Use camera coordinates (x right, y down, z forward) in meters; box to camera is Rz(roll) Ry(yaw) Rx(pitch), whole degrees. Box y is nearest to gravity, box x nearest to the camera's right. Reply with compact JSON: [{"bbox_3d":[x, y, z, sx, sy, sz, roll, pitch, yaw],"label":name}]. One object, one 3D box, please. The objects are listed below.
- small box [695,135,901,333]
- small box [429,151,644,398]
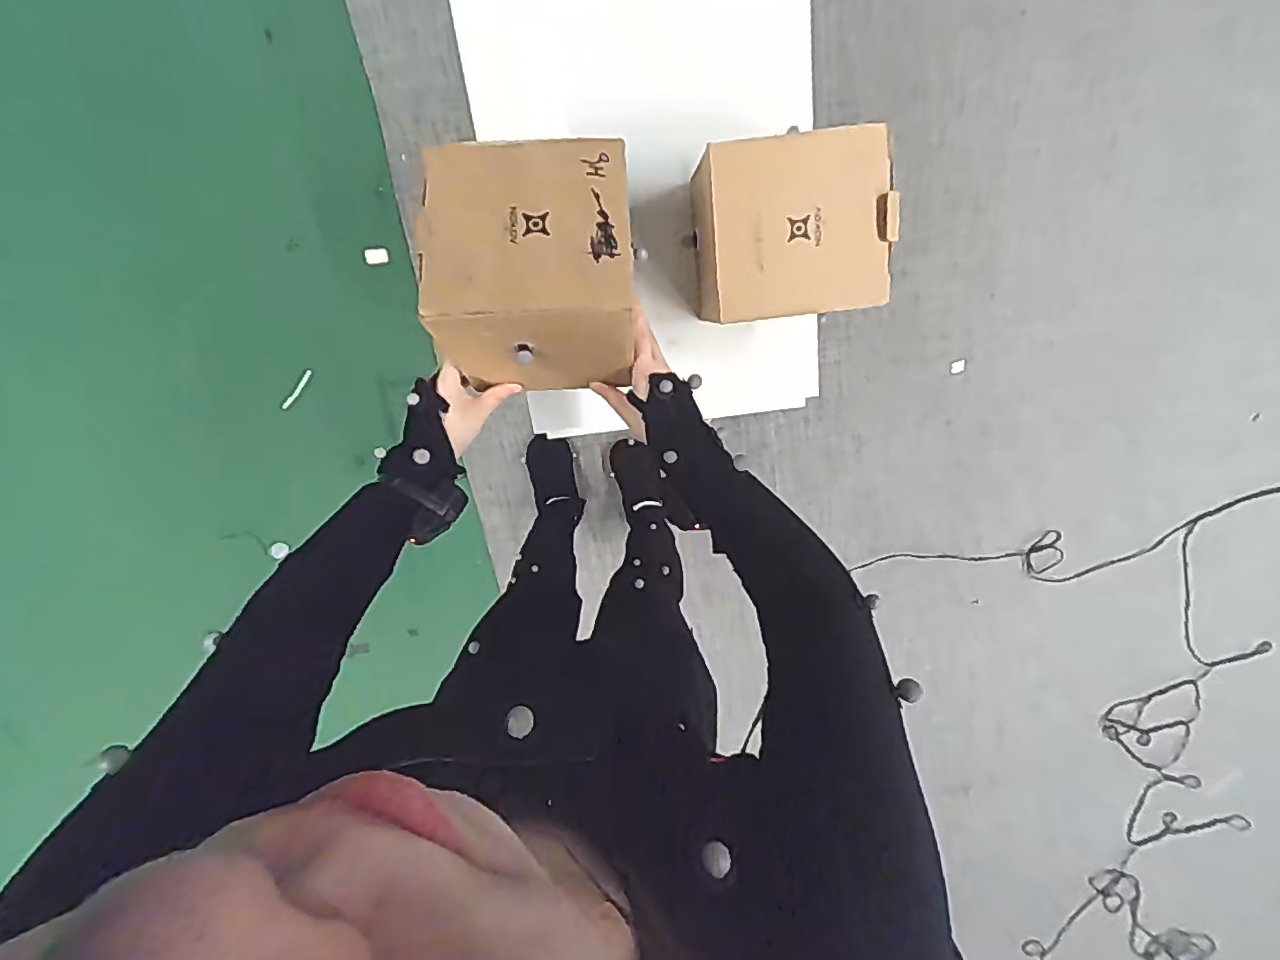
[{"bbox_3d":[0.162,-0.260,0.601,0.179,0.176,0.168,-6,107,1],"label":"small box"},{"bbox_3d":[-0.088,-0.187,0.535,0.179,0.176,0.168,-3,77,0],"label":"small box"}]
